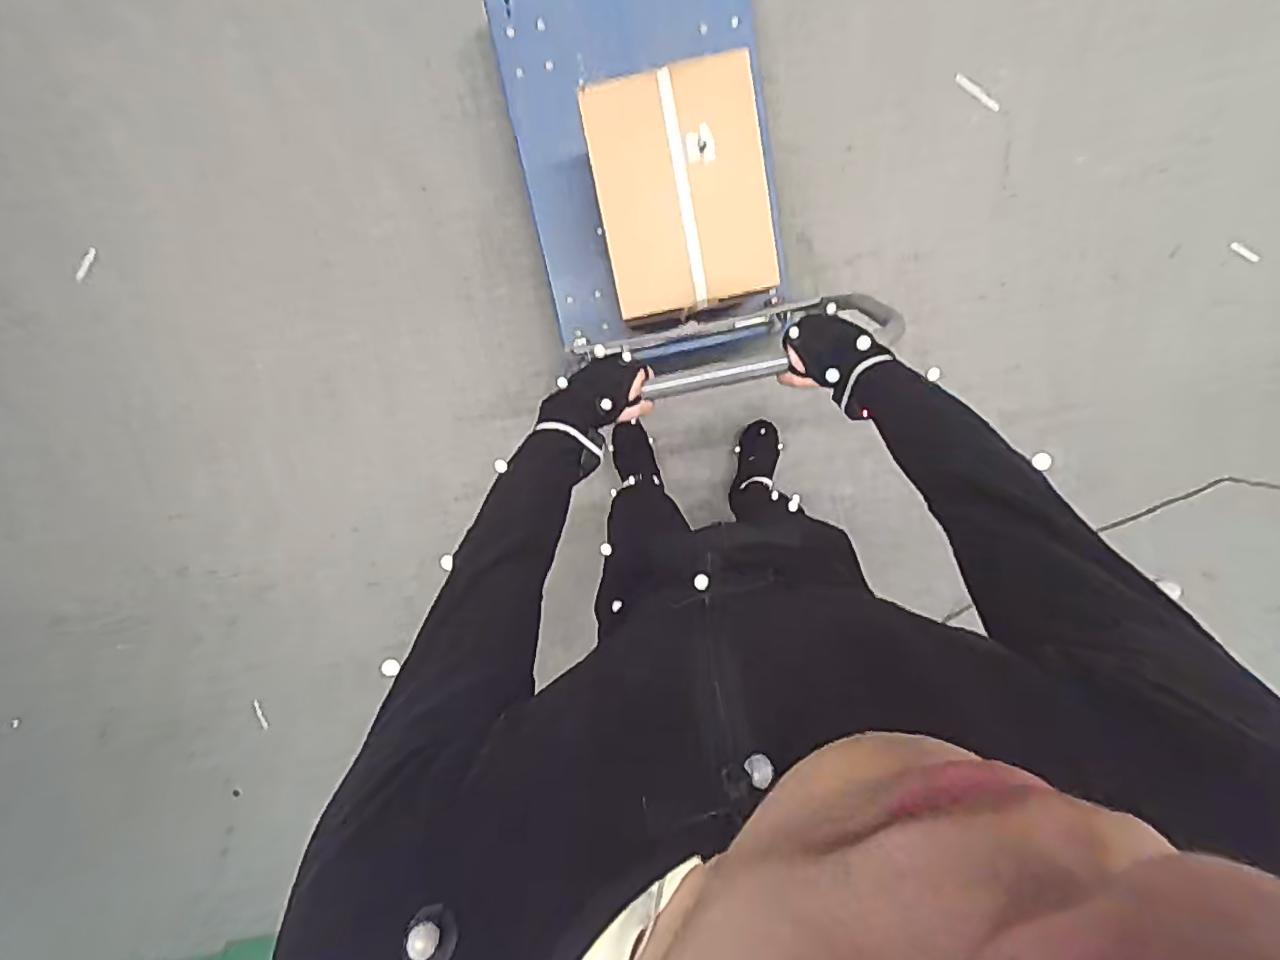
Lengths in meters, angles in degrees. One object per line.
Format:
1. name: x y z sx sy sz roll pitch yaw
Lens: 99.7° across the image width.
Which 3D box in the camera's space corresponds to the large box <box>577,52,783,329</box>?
1. large box: 0.081 -0.558 1.133 0.320 0.320 0.408 -12 102 2
